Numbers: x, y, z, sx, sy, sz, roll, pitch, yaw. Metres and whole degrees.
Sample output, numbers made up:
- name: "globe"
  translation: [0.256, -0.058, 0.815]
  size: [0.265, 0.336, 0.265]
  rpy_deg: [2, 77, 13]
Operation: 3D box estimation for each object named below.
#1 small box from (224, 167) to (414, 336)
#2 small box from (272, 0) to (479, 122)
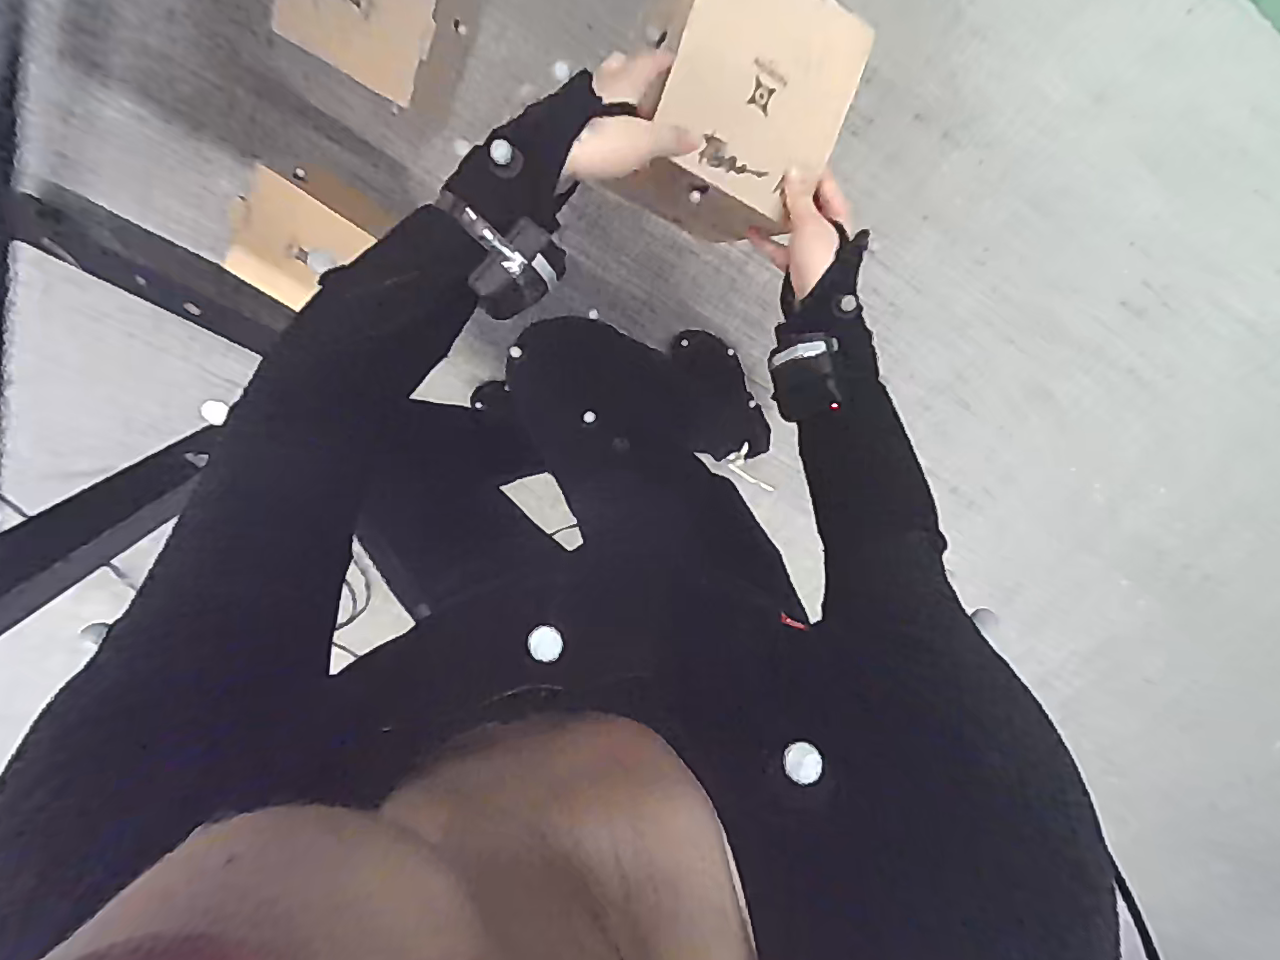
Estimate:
- name: "small box"
  translation: [-0.486, -0.358, 0.845]
  size: [0.179, 0.176, 0.168]
  rpy_deg: [32, 113, -15]
- name: "small box"
  translation: [-0.335, -0.607, 0.716]
  size: [0.179, 0.176, 0.168]
  rpy_deg: [26, 113, -12]
